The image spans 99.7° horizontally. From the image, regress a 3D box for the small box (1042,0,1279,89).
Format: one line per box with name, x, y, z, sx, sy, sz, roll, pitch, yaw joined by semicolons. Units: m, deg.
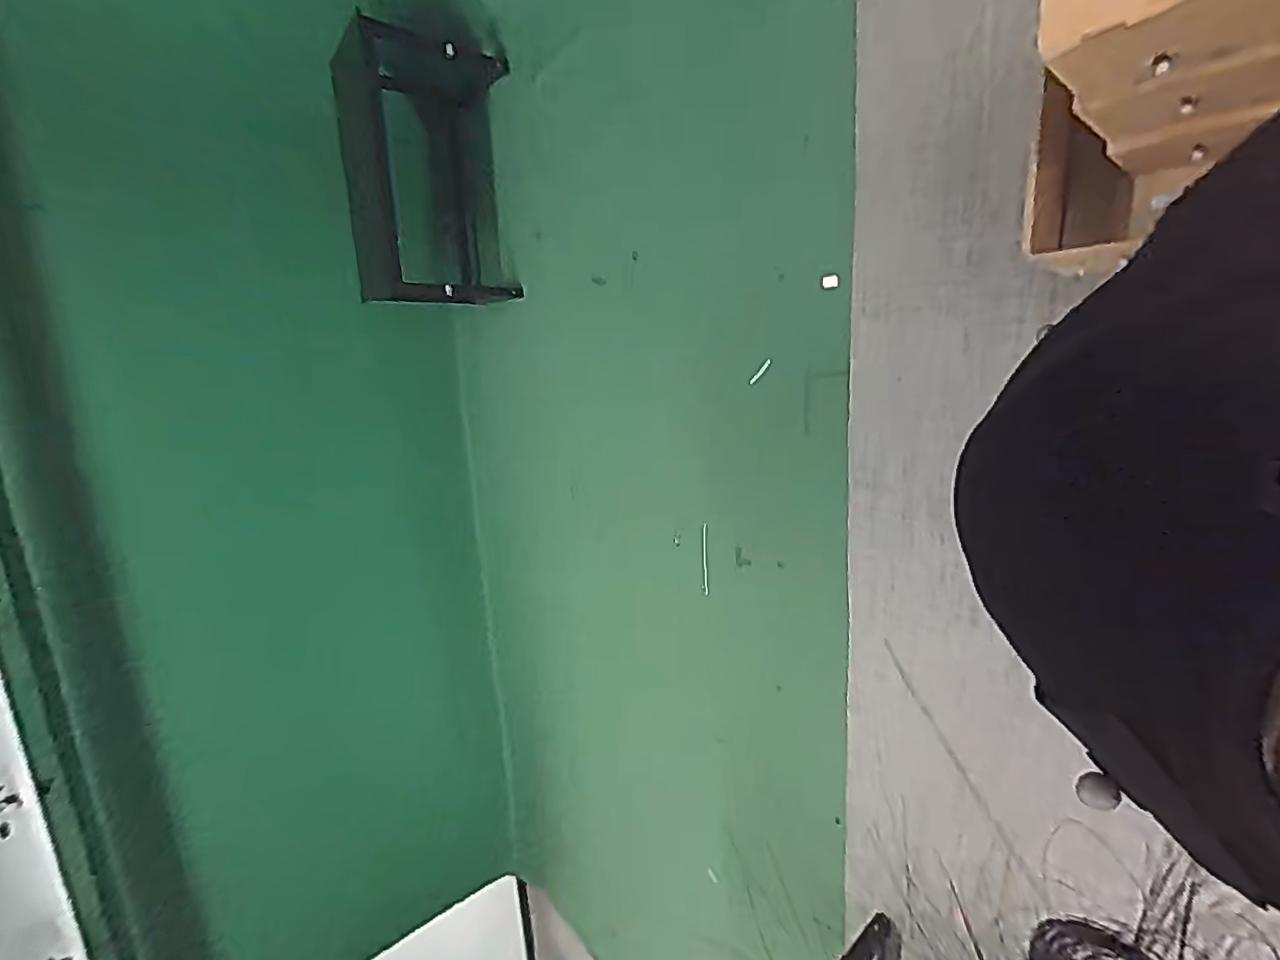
small box;0.472;-0.482;0.459;0.168;0.176;0.179;9;107;51
